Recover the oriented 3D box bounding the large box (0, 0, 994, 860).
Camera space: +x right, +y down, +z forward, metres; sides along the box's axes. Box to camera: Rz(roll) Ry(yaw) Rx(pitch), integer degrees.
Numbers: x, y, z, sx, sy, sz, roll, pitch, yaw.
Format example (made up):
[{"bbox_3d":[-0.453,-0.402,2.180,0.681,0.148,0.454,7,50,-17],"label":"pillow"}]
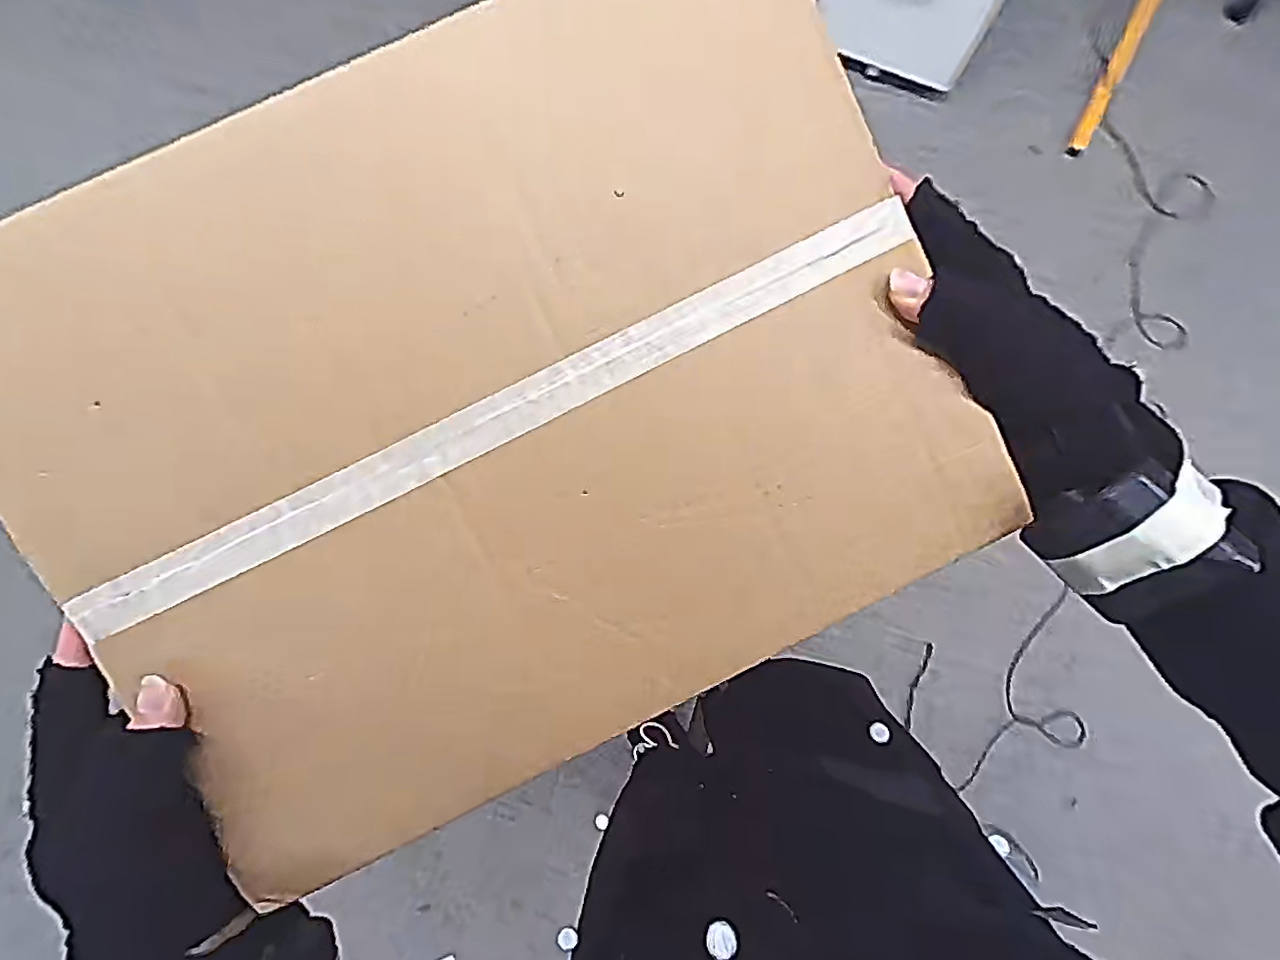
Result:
[{"bbox_3d":[-0.067,-0.048,0.401,0.408,0.320,0.320,-25,95,-2],"label":"large box"}]
